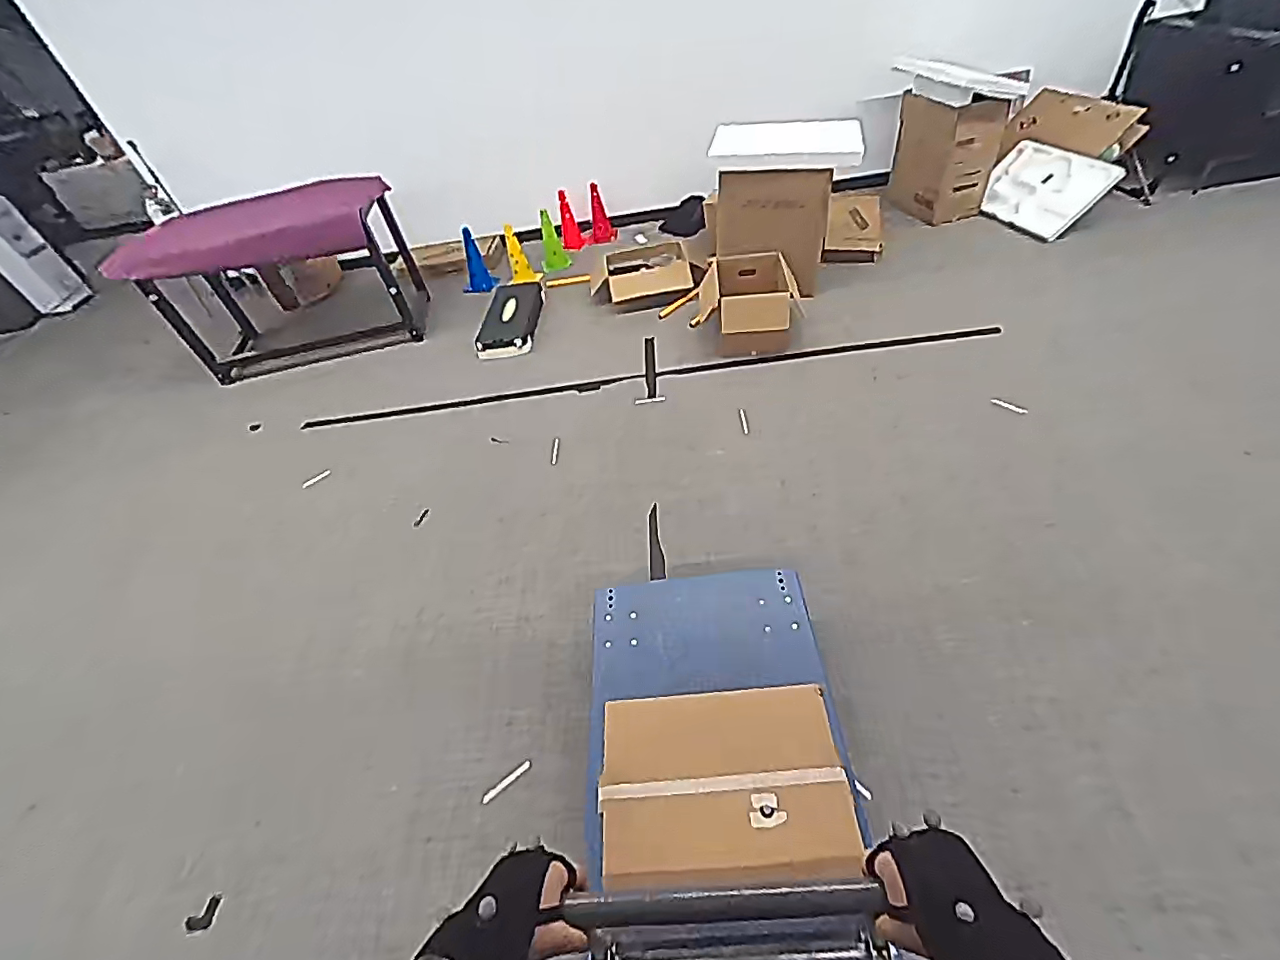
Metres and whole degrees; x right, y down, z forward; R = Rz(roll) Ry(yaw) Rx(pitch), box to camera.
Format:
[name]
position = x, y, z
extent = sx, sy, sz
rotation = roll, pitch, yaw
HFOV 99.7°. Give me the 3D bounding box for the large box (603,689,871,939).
[large box]
position = 0.151, 0.621, 1.001
extent = 0.408, 0.320, 0.320
rotation = -7, 45, 3
